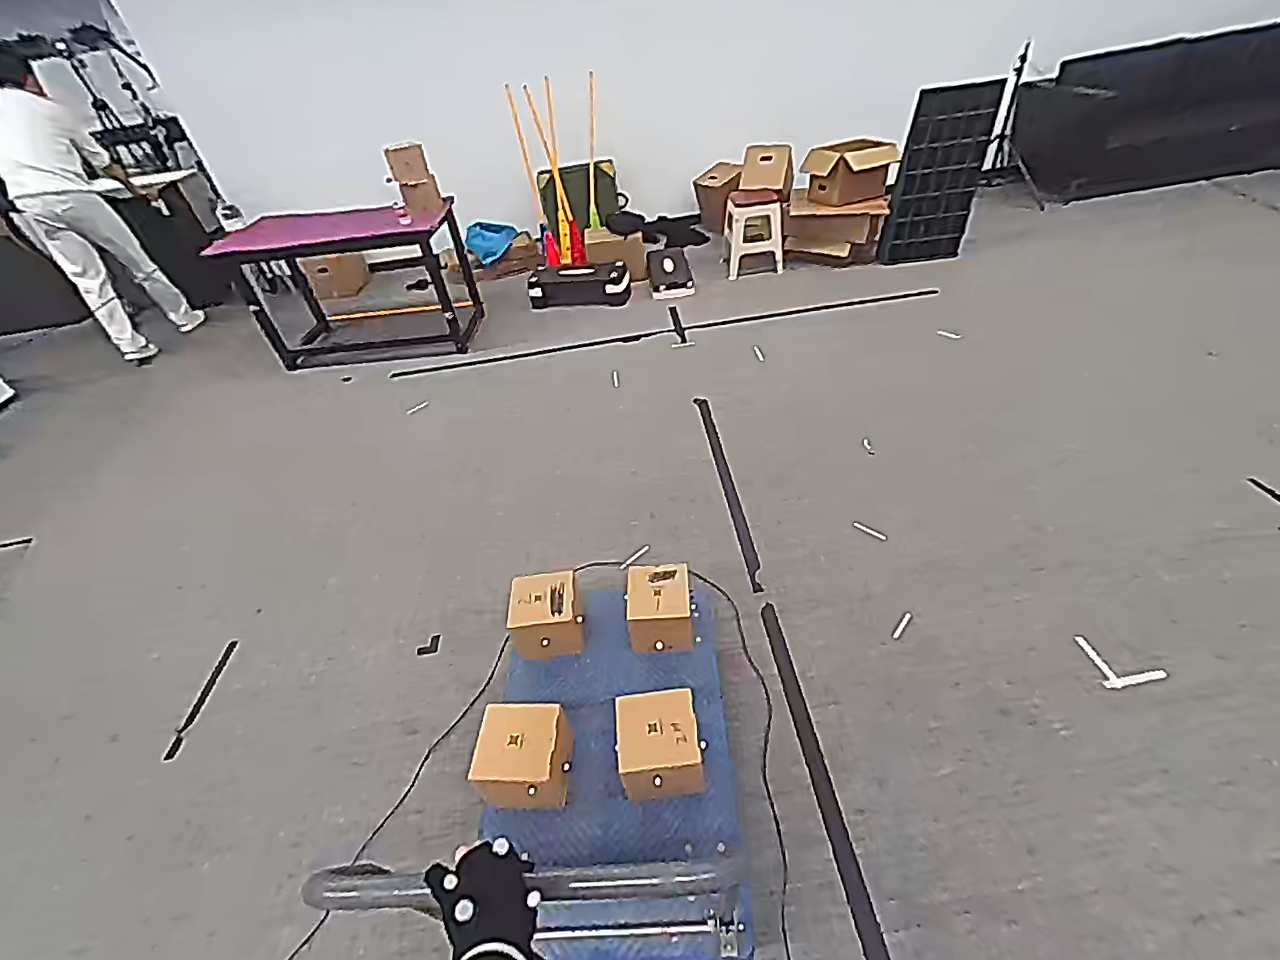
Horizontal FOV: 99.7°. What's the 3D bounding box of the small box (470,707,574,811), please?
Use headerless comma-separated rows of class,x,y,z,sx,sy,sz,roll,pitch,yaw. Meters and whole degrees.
small box,-0.259,0.637,1.231,0.179,0.176,0.168,-2,41,4

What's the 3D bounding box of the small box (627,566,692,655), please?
small box,0.057,0.360,1.492,0.168,0.176,0.179,-4,42,4

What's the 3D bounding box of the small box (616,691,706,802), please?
small box,0.048,0.602,1.218,0.179,0.176,0.168,-8,41,1
